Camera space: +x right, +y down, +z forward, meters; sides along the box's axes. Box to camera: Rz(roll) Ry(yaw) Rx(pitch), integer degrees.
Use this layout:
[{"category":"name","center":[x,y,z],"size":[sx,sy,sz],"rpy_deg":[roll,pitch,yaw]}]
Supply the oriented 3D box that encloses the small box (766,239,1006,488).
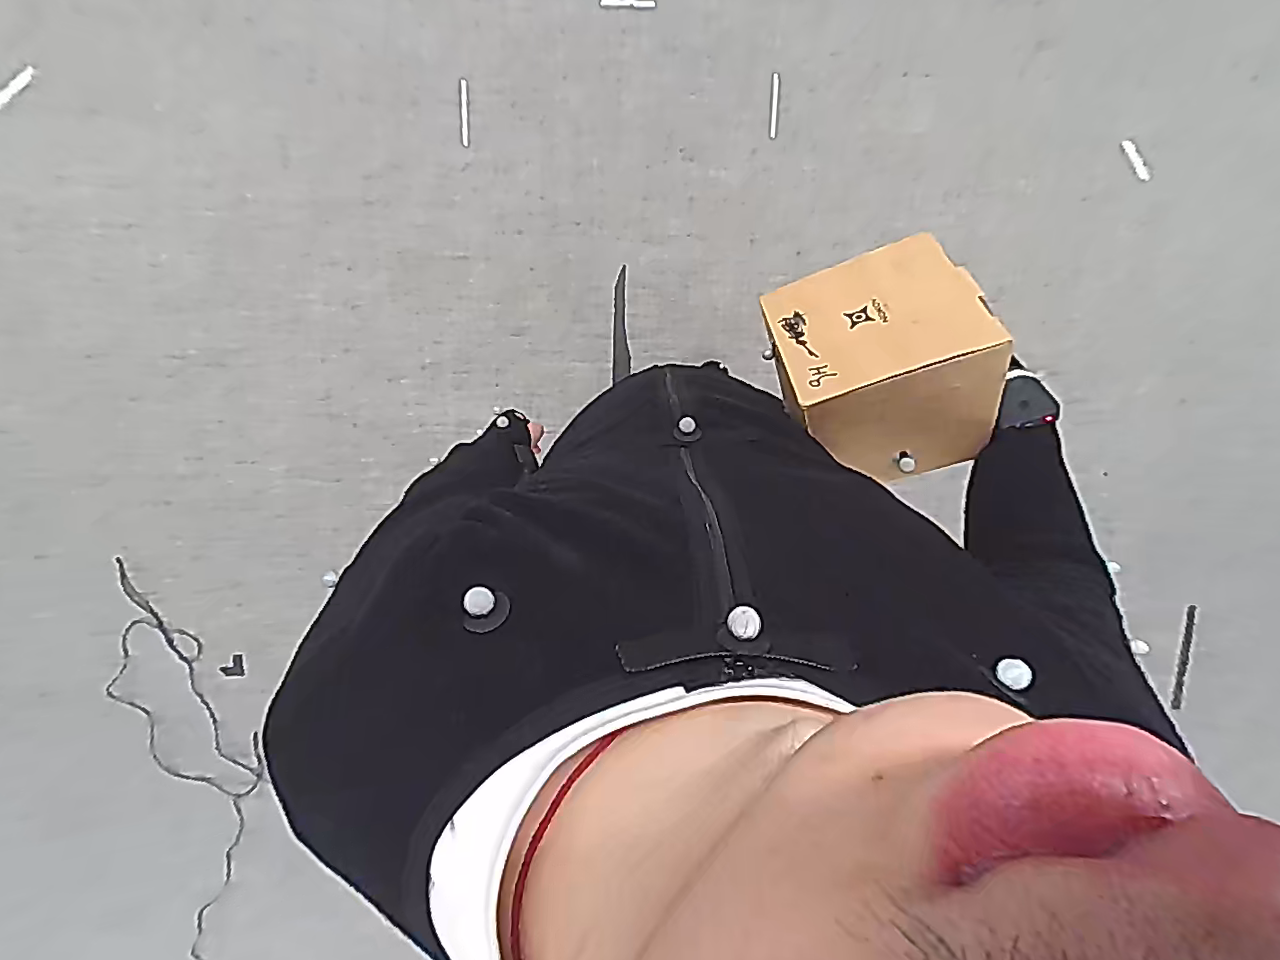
[{"category":"small box","center":[0.251,-0.116,0.586],"size":[0.179,0.168,0.176],"rpy_deg":[-17,142,13]}]
